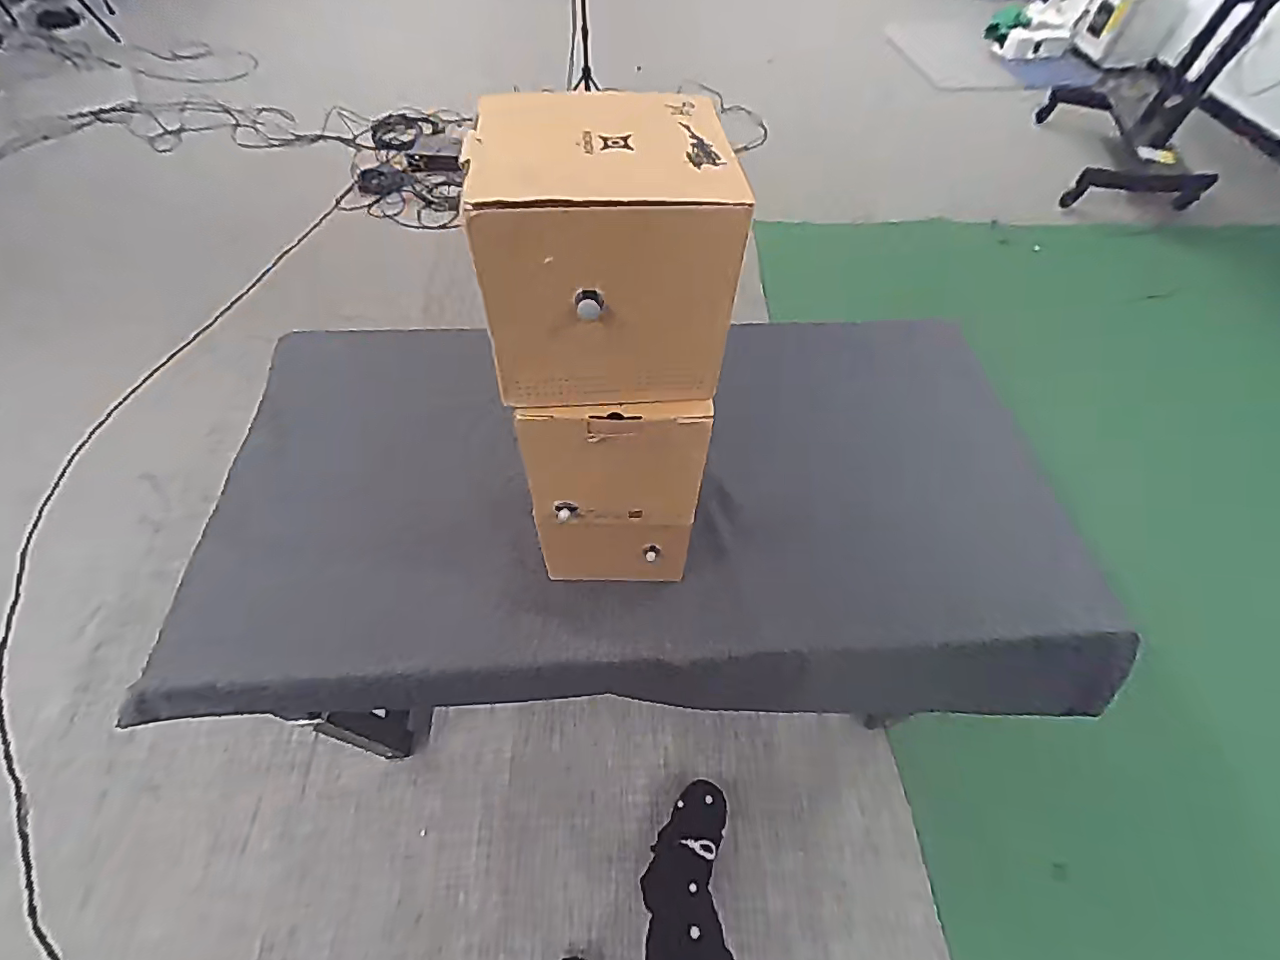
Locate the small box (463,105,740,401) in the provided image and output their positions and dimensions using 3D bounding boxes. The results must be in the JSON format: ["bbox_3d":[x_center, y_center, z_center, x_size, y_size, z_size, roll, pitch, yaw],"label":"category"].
[{"bbox_3d":[-0.034,-0.180,0.442,0.179,0.176,0.168,-6,53,-7],"label":"small box"}]

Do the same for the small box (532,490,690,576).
[{"bbox_3d":[-0.034,0.015,0.702,0.179,0.176,0.168,0,54,-1],"label":"small box"}]

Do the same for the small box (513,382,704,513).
[{"bbox_3d":[-0.031,-0.075,0.565,0.168,0.176,0.179,-2,56,-3],"label":"small box"}]
